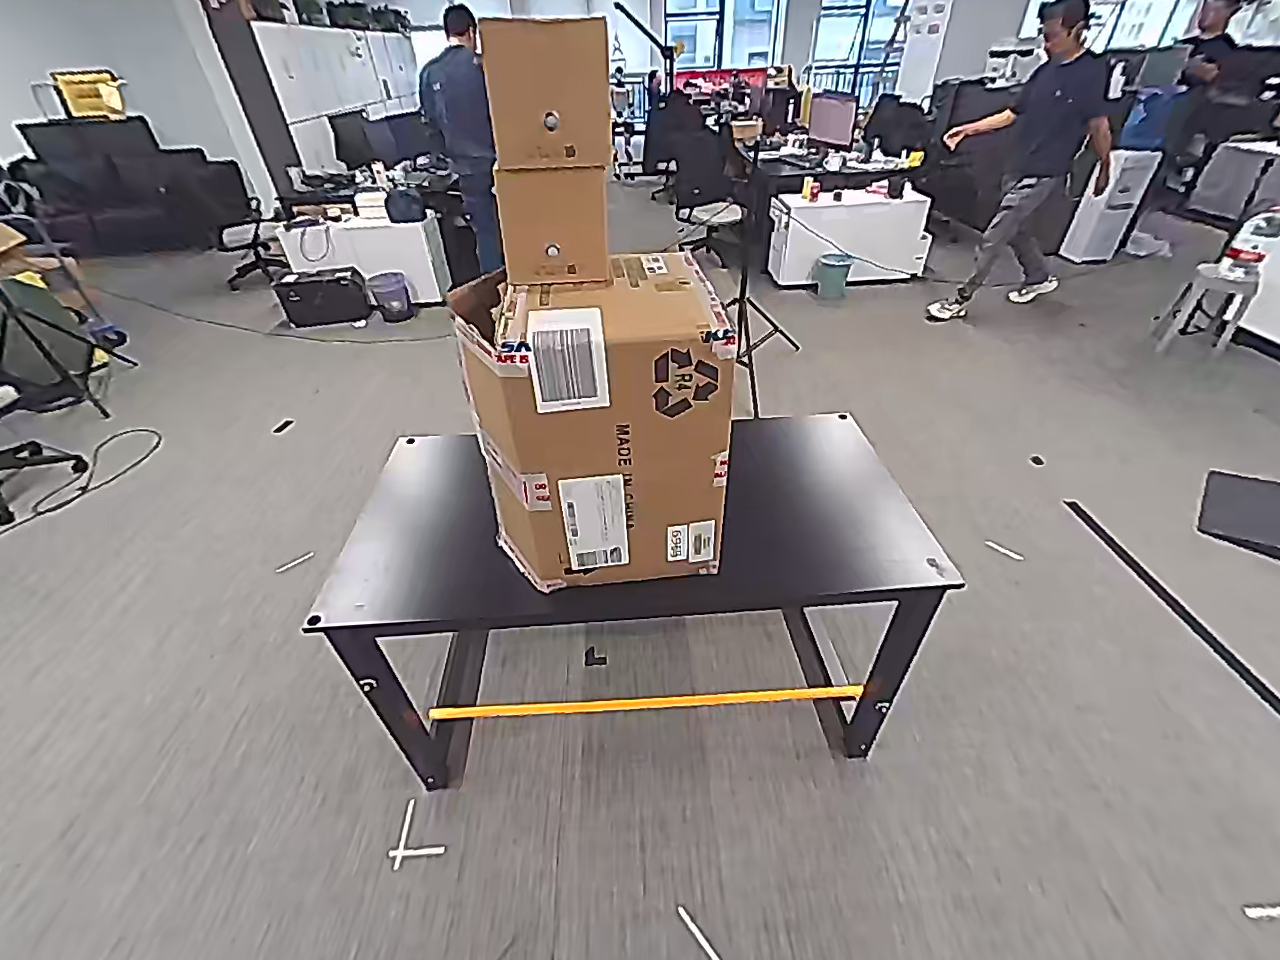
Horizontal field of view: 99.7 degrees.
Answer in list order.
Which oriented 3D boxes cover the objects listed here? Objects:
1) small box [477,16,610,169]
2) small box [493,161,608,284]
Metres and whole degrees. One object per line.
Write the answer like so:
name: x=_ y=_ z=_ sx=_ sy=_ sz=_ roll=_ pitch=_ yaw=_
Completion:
small box: x=-0.138 y=-0.564 z=0.798 sx=0.168 sy=0.176 sz=0.179 roll=-7 pitch=37 yaw=-8
small box: x=-0.144 y=-0.435 z=0.902 sx=0.168 sy=0.176 sz=0.179 roll=-6 pitch=37 yaw=-7
